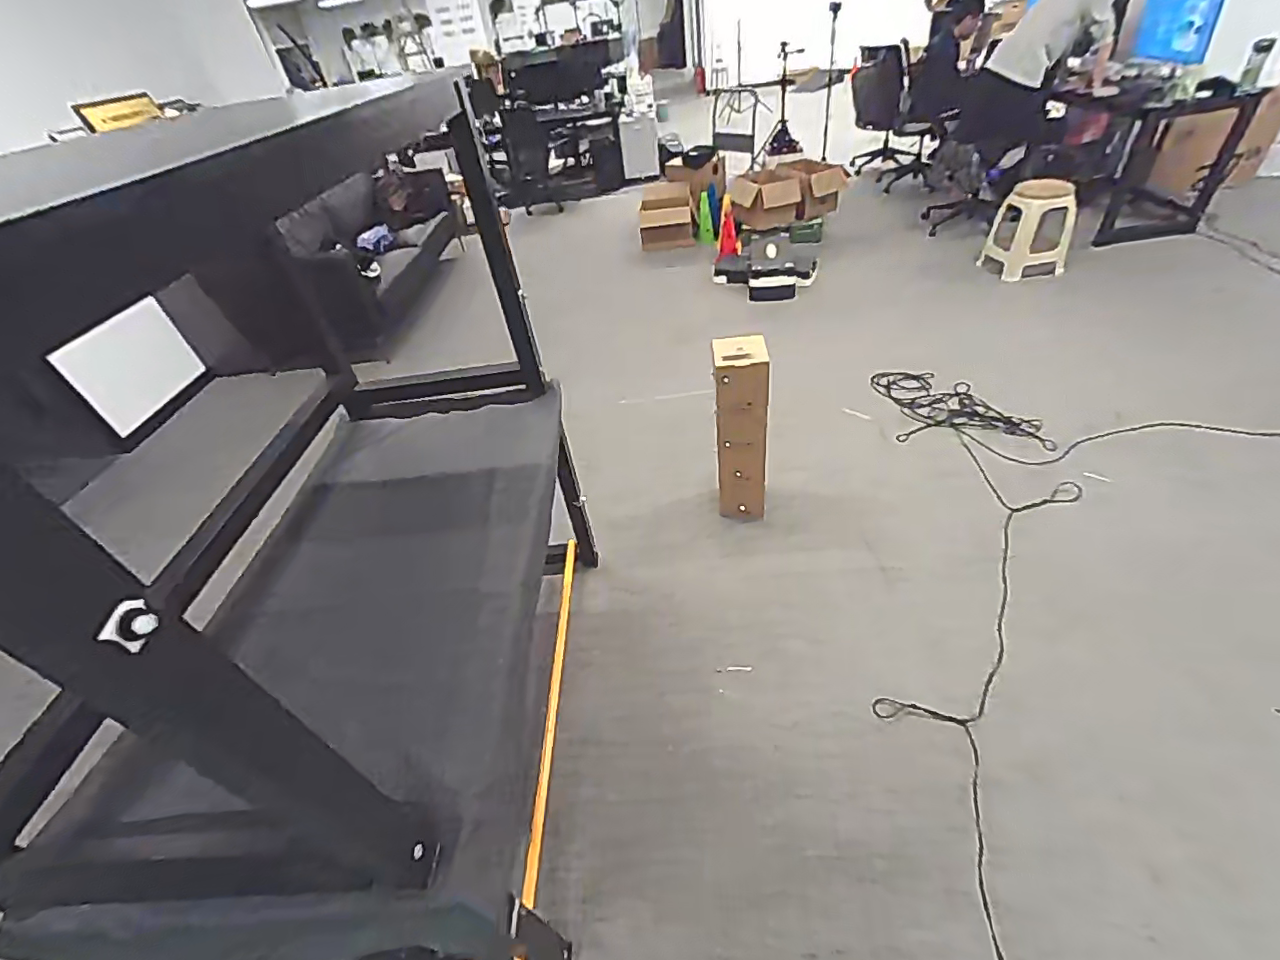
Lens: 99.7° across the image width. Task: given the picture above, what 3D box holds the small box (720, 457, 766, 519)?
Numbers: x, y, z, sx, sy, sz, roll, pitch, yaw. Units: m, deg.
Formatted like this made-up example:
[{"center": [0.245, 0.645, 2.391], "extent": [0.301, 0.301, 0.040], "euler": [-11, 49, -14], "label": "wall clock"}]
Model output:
[{"center": [0.395, 0.030, 2.080], "extent": [0.168, 0.176, 0.179], "euler": [-3, 41, 10], "label": "small box"}]

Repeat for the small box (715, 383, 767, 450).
[{"center": [0.349, -0.215, 1.869], "extent": [0.168, 0.176, 0.179], "euler": [-3, 41, 7], "label": "small box"}]
